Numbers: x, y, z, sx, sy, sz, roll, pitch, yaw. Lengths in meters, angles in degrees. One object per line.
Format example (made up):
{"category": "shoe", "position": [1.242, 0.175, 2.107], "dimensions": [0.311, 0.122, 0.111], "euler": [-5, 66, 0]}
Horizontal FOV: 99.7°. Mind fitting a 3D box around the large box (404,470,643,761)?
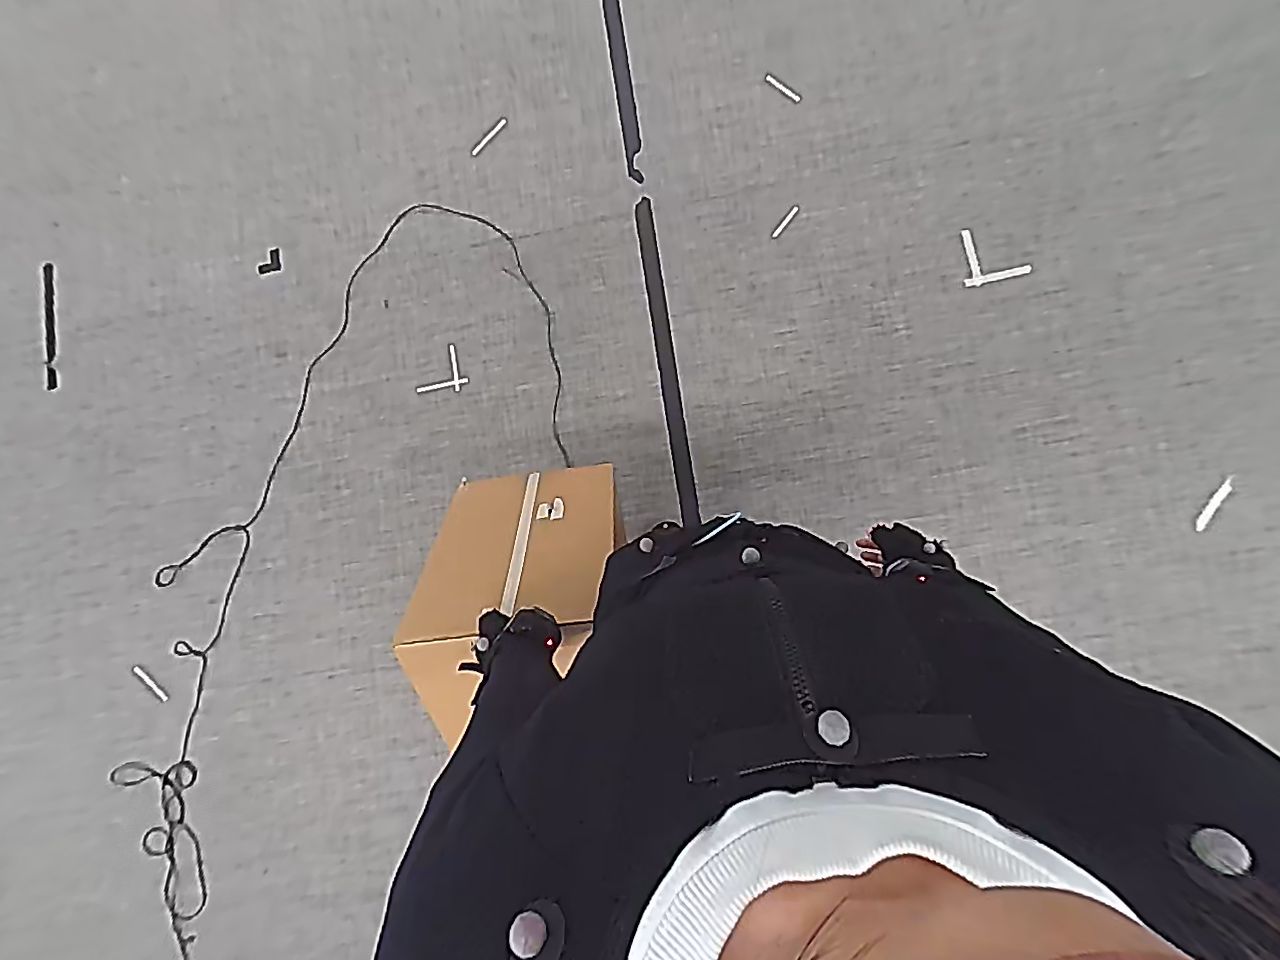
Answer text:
{"category": "large box", "position": [-0.175, 0.230, 0.996], "dimensions": [0.320, 0.408, 0.320], "euler": [-7, 123, 1]}
